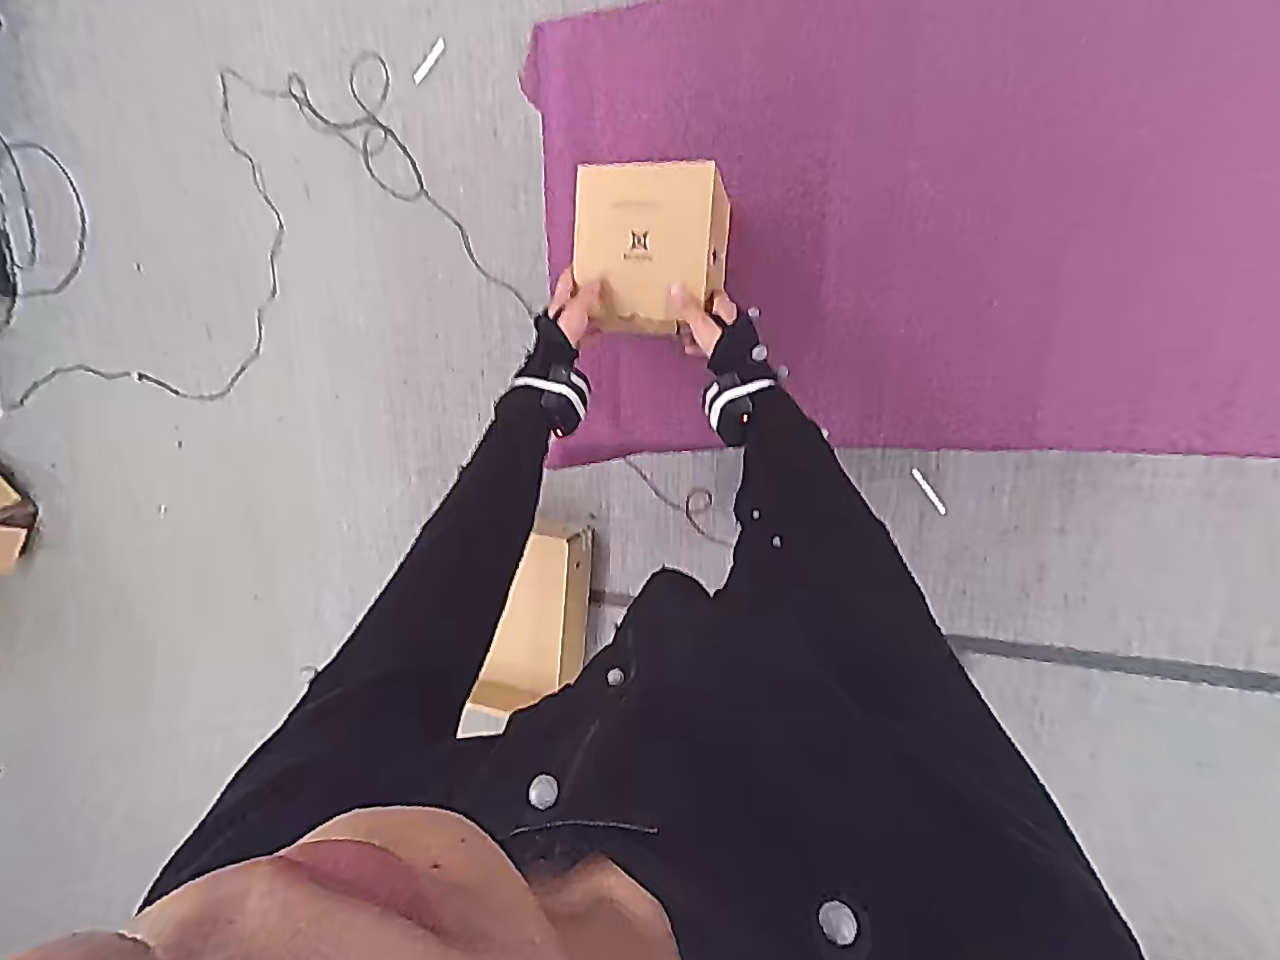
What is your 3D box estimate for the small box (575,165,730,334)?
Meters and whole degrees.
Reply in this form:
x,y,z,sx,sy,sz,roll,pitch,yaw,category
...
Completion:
x,y,z,sx,sy,sz,roll,pitch,yaw,category
0.024,-0.290,0.712,0.168,0.176,0.179,7,101,14,small box
